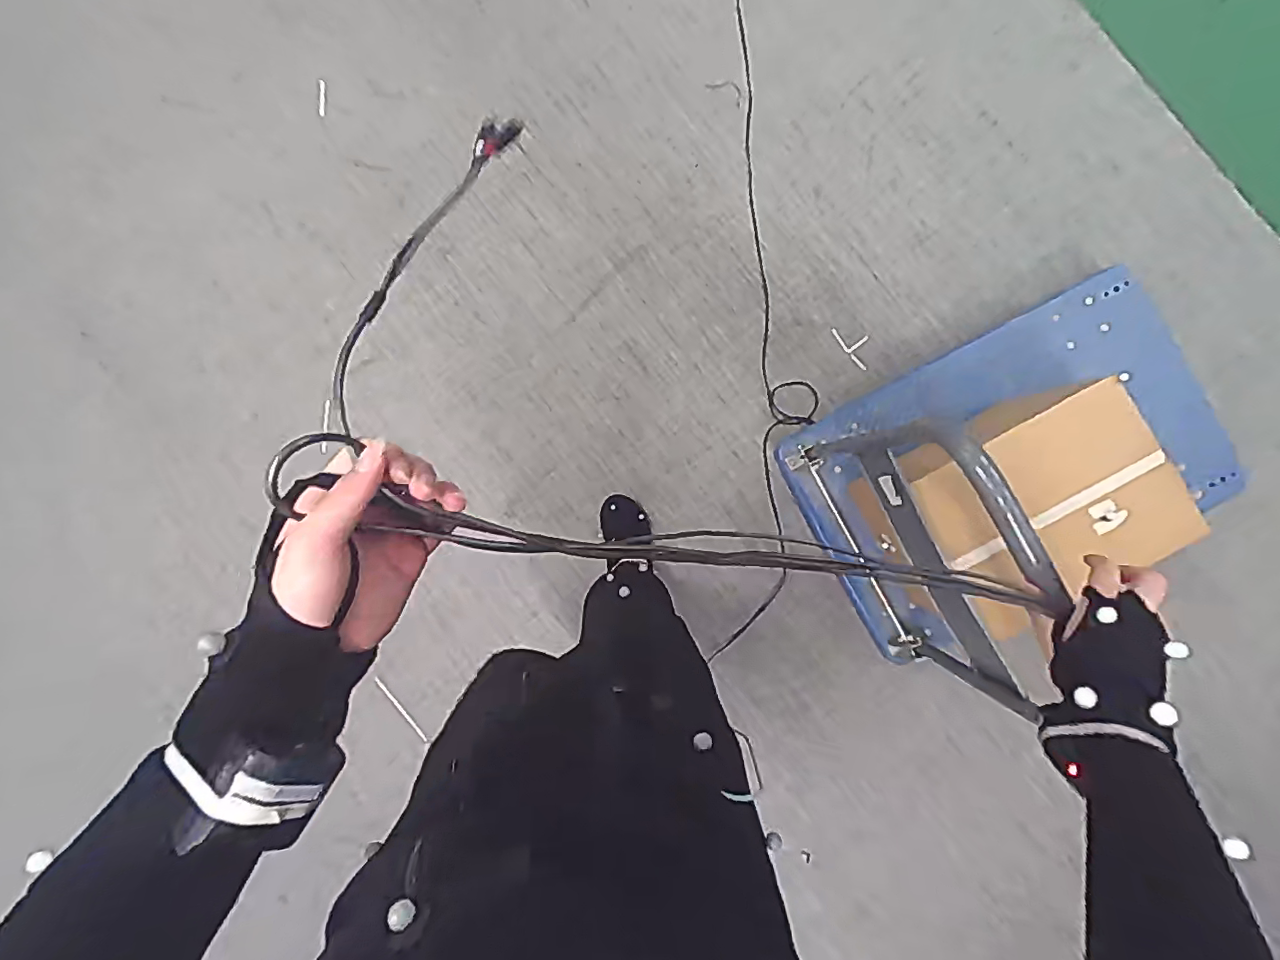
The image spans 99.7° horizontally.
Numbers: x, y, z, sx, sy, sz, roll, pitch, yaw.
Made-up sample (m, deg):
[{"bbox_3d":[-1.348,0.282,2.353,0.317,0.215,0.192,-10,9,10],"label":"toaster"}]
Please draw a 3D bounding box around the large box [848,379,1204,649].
[{"bbox_3d":[0.701,0.062,1.058,0.408,0.320,0.320,-29,88,2],"label":"large box"}]
